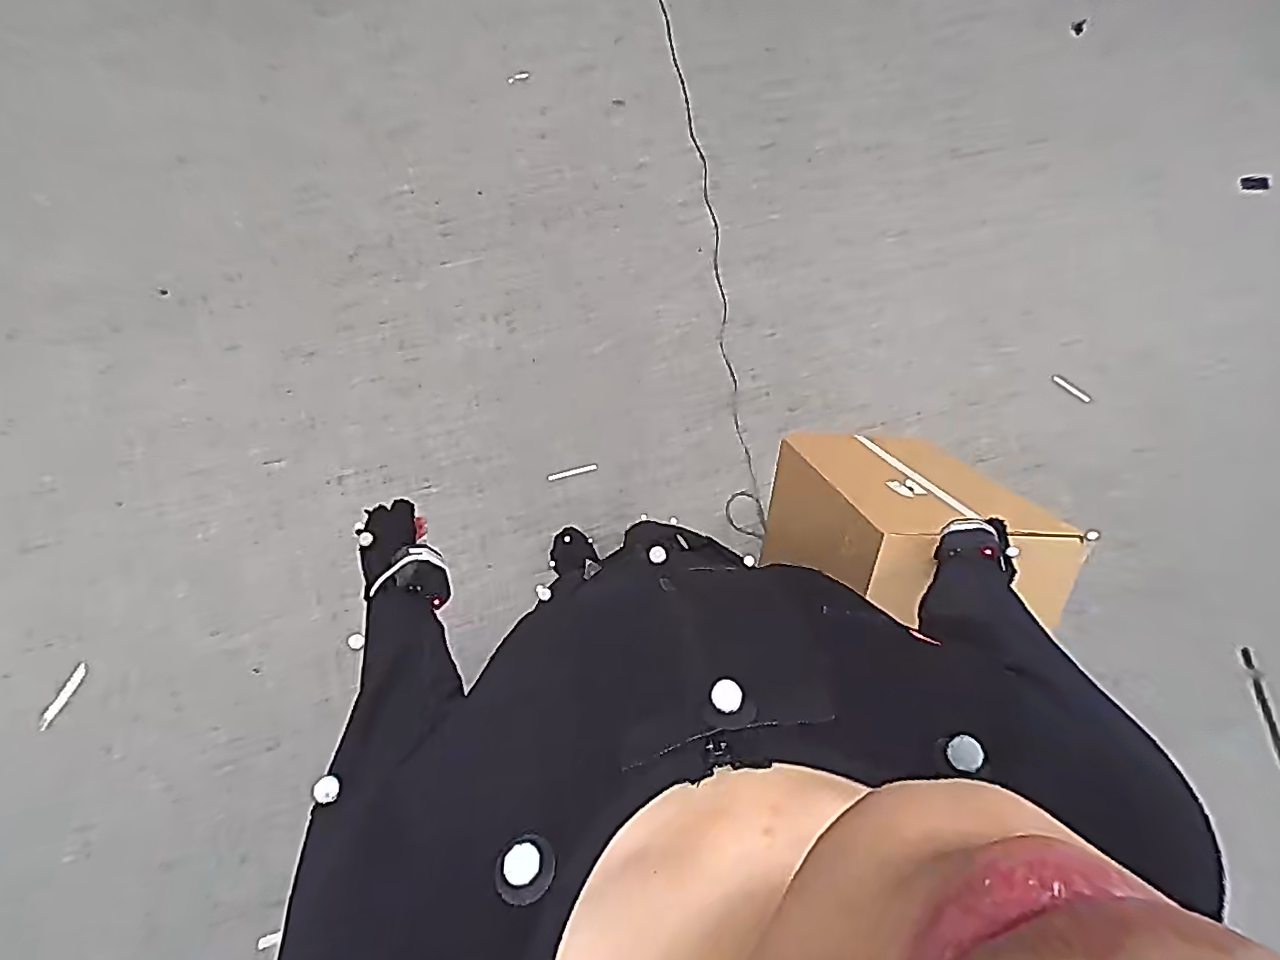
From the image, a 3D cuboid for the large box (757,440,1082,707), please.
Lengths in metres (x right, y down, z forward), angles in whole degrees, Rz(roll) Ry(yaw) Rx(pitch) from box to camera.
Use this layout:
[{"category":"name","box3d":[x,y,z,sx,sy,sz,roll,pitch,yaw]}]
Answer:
[{"category":"large box","box3d":[0.443,0.144,0.986,0.320,0.408,0.320,1,114,-7]}]
